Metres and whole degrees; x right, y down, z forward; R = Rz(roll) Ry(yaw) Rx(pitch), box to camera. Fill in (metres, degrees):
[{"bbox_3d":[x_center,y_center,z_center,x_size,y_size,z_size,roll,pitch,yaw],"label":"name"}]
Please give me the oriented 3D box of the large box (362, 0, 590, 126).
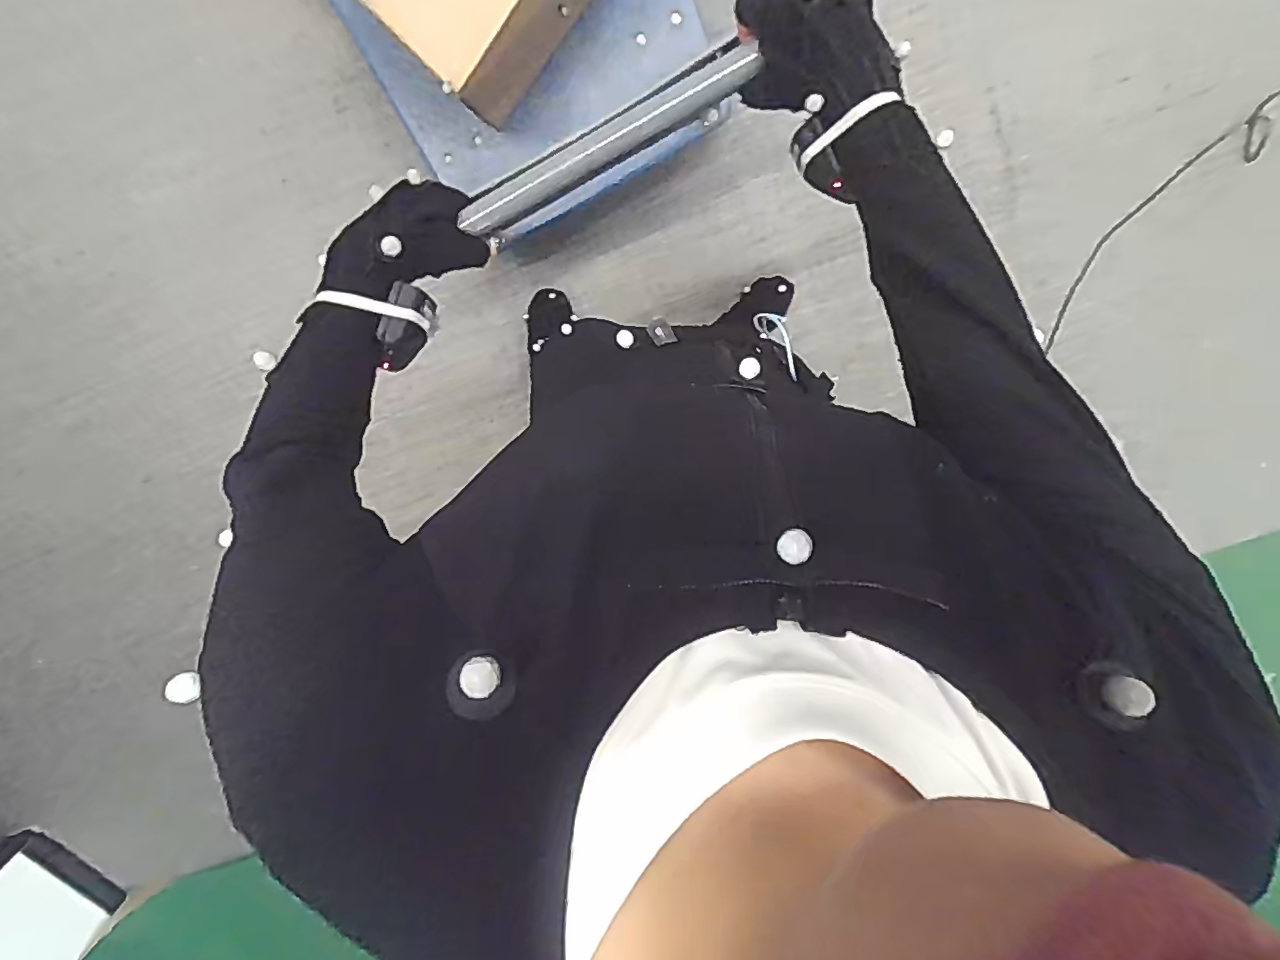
[{"bbox_3d":[-0.235,-0.837,0.801,0.320,0.320,0.408,39,108,-17],"label":"large box"}]
